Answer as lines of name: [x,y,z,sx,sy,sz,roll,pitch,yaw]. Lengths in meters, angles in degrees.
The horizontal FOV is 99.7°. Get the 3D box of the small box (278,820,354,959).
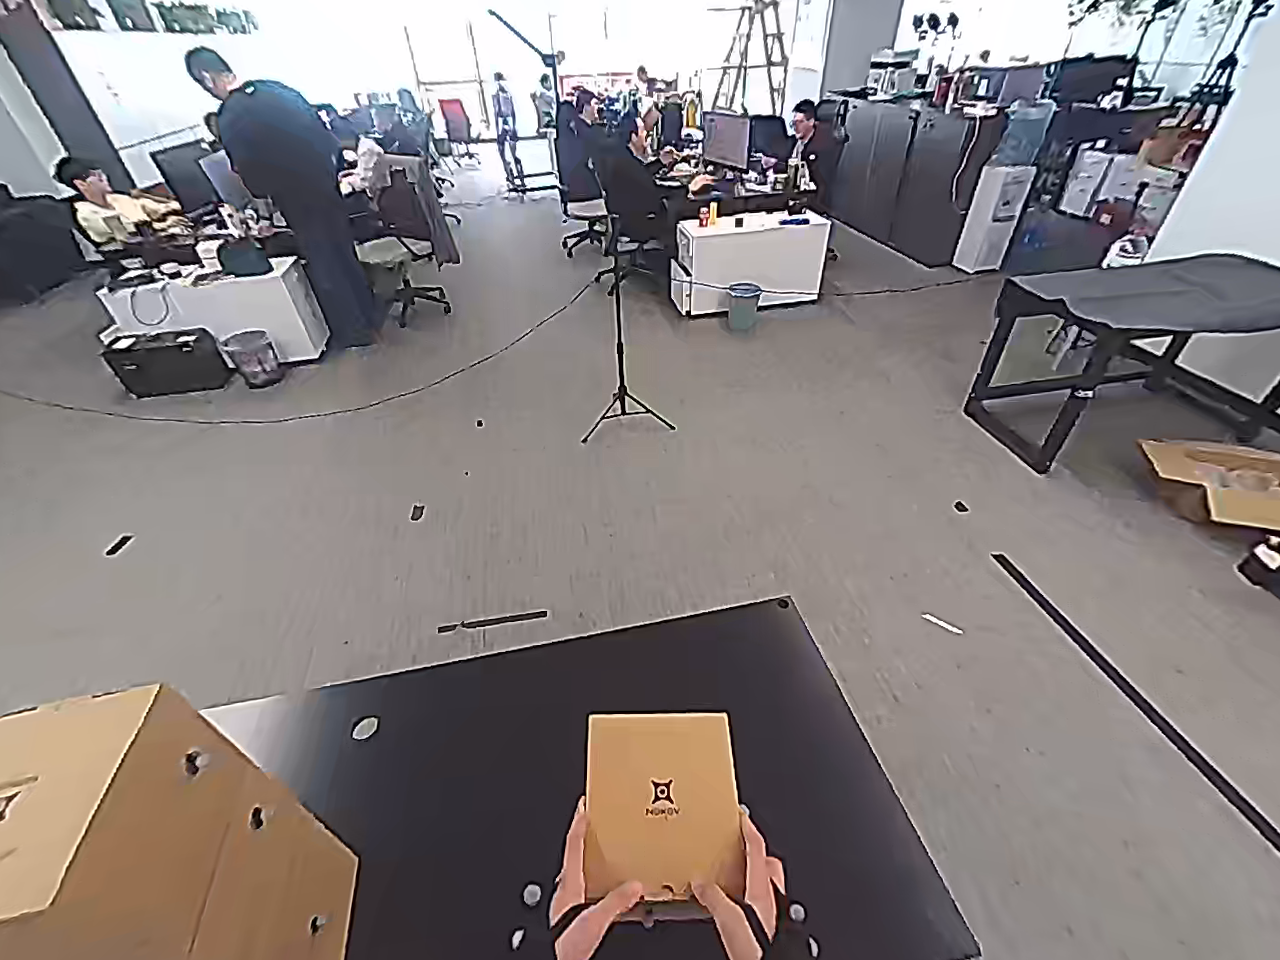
small box: [-0.480,0.565,0.673,0.168,0.176,0.179,-10,40,-9]

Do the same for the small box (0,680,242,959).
small box: [-0.490,0.310,0.468,0.168,0.176,0.179,-10,40,-8]

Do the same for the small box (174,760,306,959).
small box: [-0.485,0.436,0.571,0.168,0.176,0.179,-10,40,-8]

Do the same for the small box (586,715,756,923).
small box: [0.025,0.392,0.626,0.168,0.176,0.179,1,47,-2]
